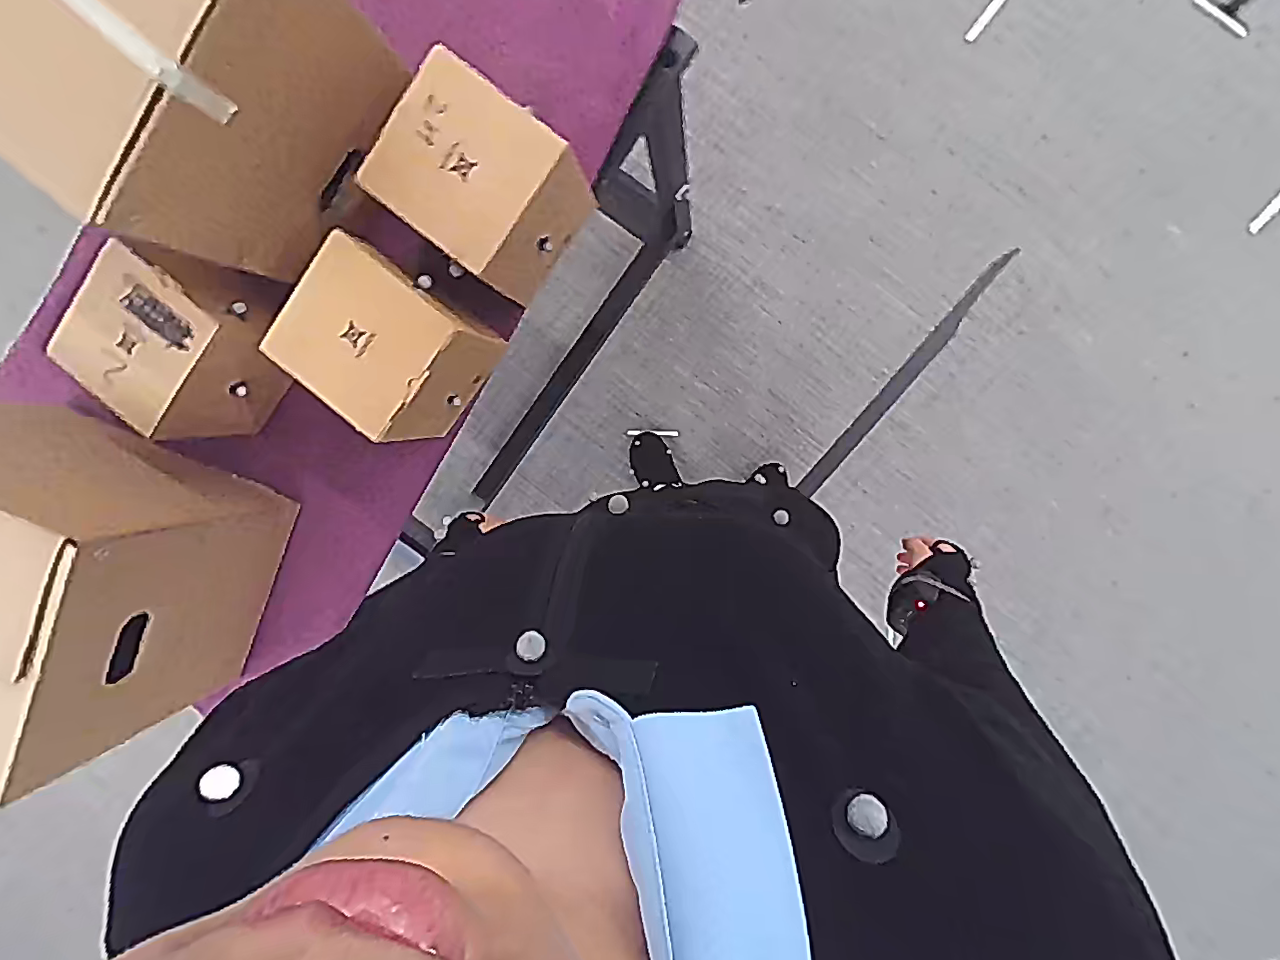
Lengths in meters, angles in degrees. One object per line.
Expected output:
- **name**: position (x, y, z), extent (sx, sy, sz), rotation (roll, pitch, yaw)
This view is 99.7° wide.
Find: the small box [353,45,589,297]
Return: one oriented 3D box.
- **small box**: position (-0.182, -0.340, 0.641), extent (0.179, 0.176, 0.168), rotation (39, 98, 1)
